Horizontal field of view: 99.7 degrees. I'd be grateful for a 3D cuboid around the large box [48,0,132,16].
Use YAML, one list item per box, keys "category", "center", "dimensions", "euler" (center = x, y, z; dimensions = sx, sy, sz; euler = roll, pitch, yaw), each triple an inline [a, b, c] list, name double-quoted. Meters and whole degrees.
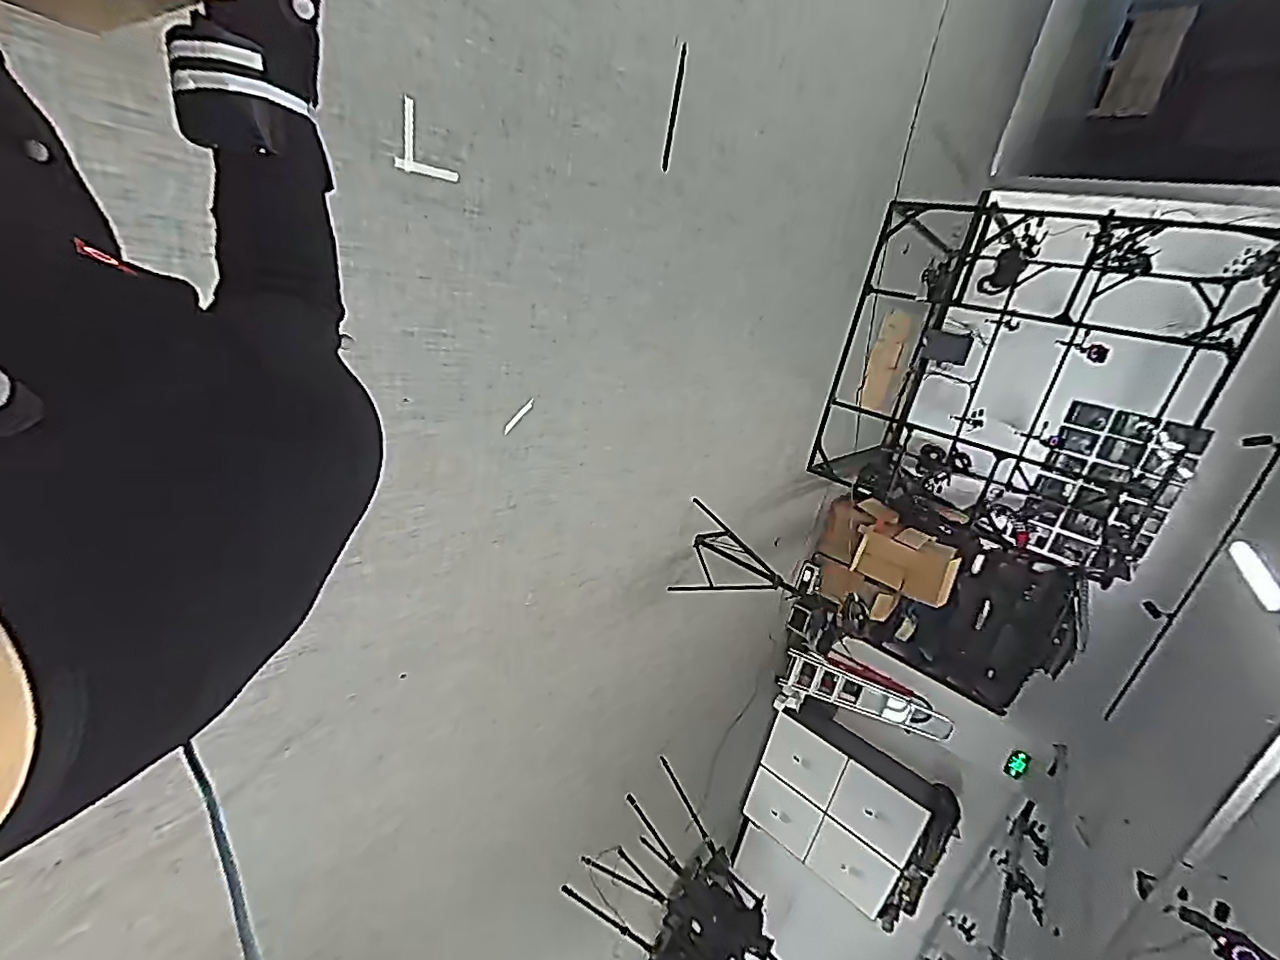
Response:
- category: "large box"
  center: [-0.465, -0.482, 0.214]
  dimensions: [0.408, 0.320, 0.320]
  euler: [-14, 121, -53]
